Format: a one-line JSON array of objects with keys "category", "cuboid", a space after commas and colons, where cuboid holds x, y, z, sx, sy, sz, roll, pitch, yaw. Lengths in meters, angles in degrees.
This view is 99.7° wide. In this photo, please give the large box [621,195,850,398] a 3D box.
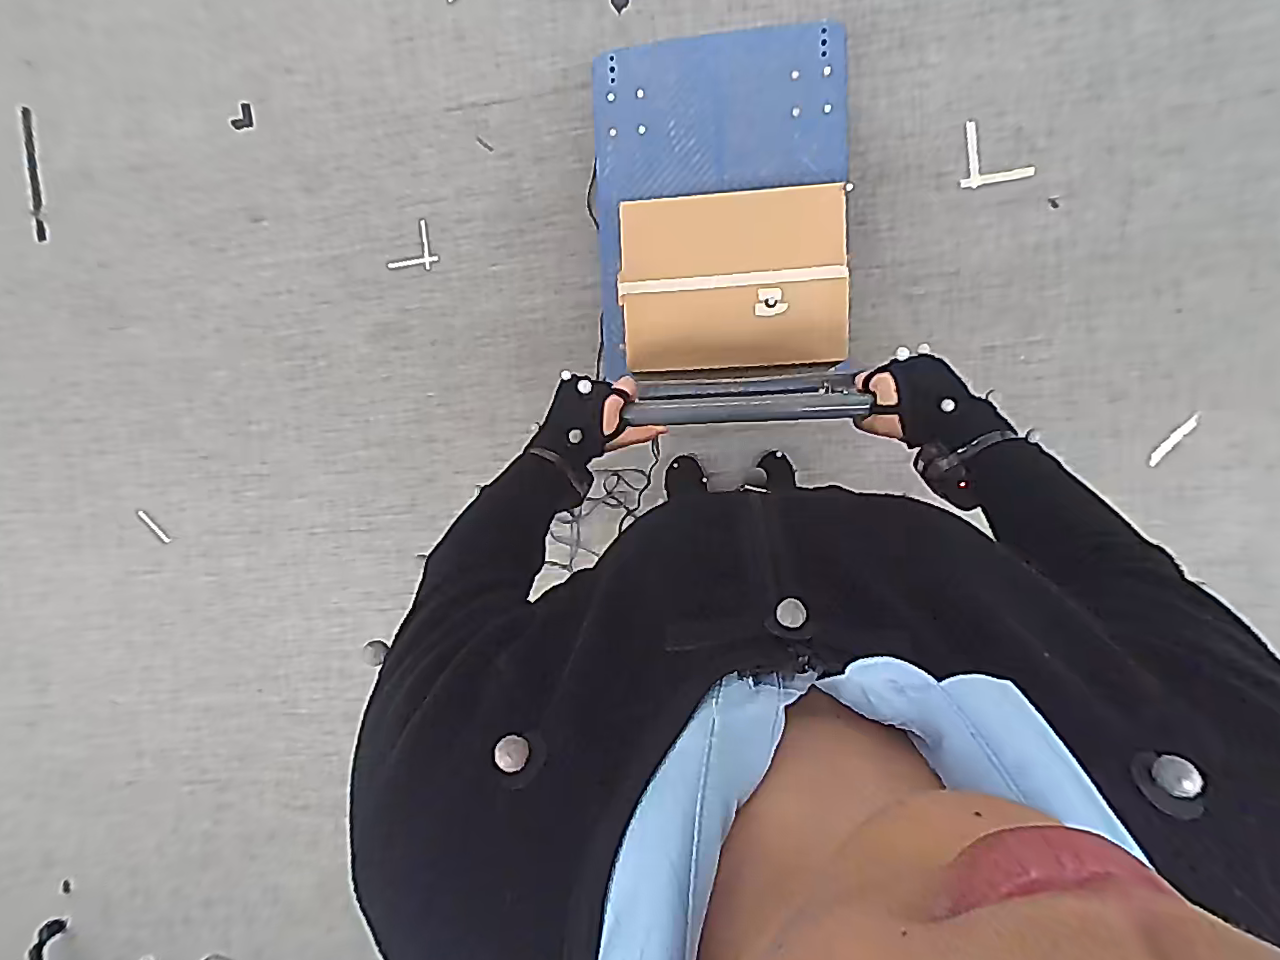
[{"category": "large box", "cuboid": [0.182, -0.348, 1.122, 0.408, 0.320, 0.320, -2, 94, 5]}]
